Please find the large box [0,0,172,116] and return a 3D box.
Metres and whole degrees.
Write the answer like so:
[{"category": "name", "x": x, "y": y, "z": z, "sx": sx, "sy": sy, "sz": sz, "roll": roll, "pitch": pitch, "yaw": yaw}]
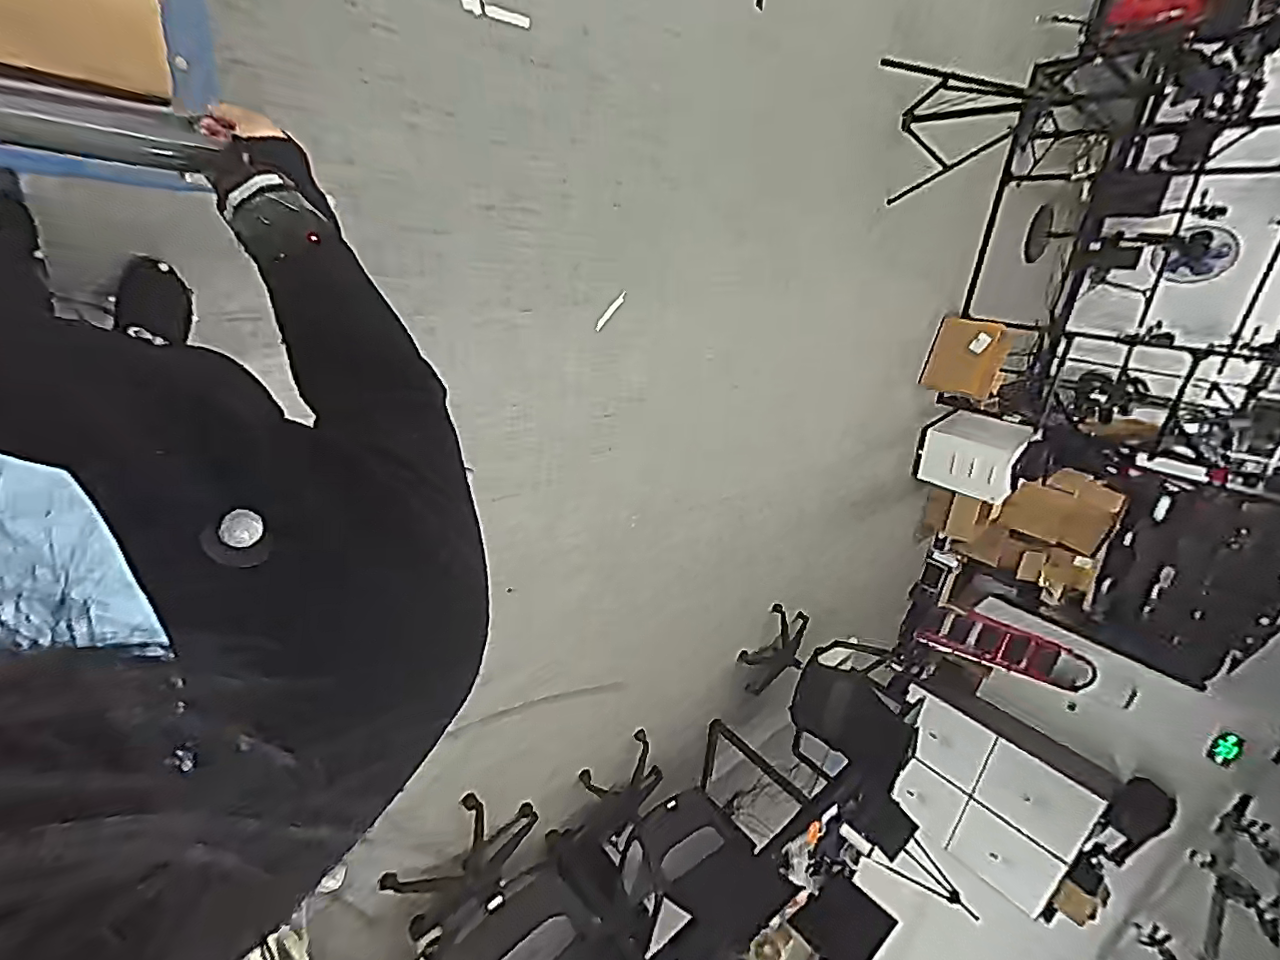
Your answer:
[{"category": "large box", "x": -0.825, "y": -0.647, "z": 0.602, "sx": 0.408, "sy": 0.320, "sz": 0.320, "roll": -13, "pitch": 119, "yaw": -41}]
